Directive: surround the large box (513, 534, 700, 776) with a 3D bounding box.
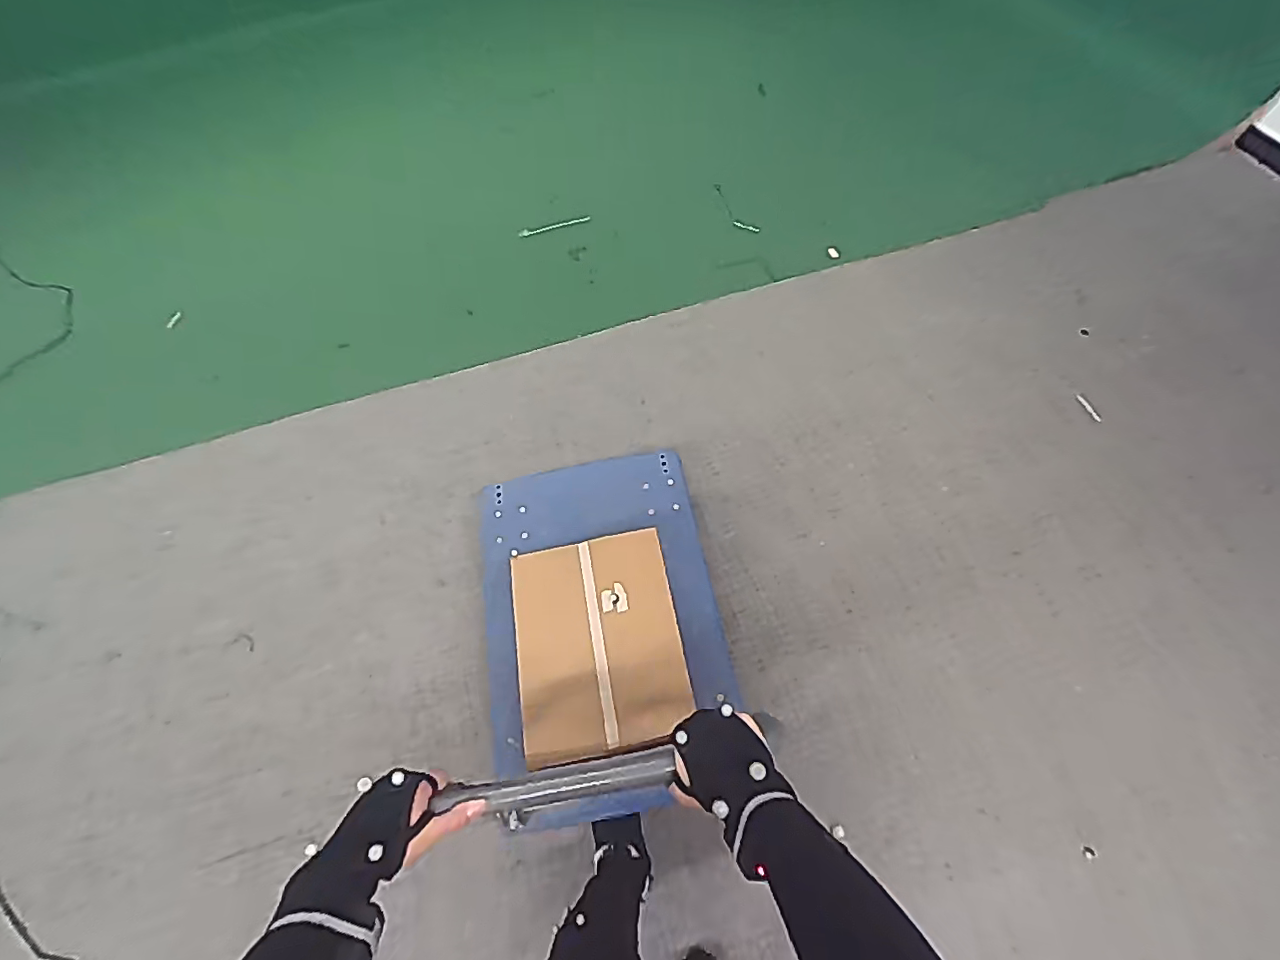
[{"bbox_3d":[-0.068,0.383,1.168,0.320,0.320,0.408,-11,60,-2],"label":"large box"}]
